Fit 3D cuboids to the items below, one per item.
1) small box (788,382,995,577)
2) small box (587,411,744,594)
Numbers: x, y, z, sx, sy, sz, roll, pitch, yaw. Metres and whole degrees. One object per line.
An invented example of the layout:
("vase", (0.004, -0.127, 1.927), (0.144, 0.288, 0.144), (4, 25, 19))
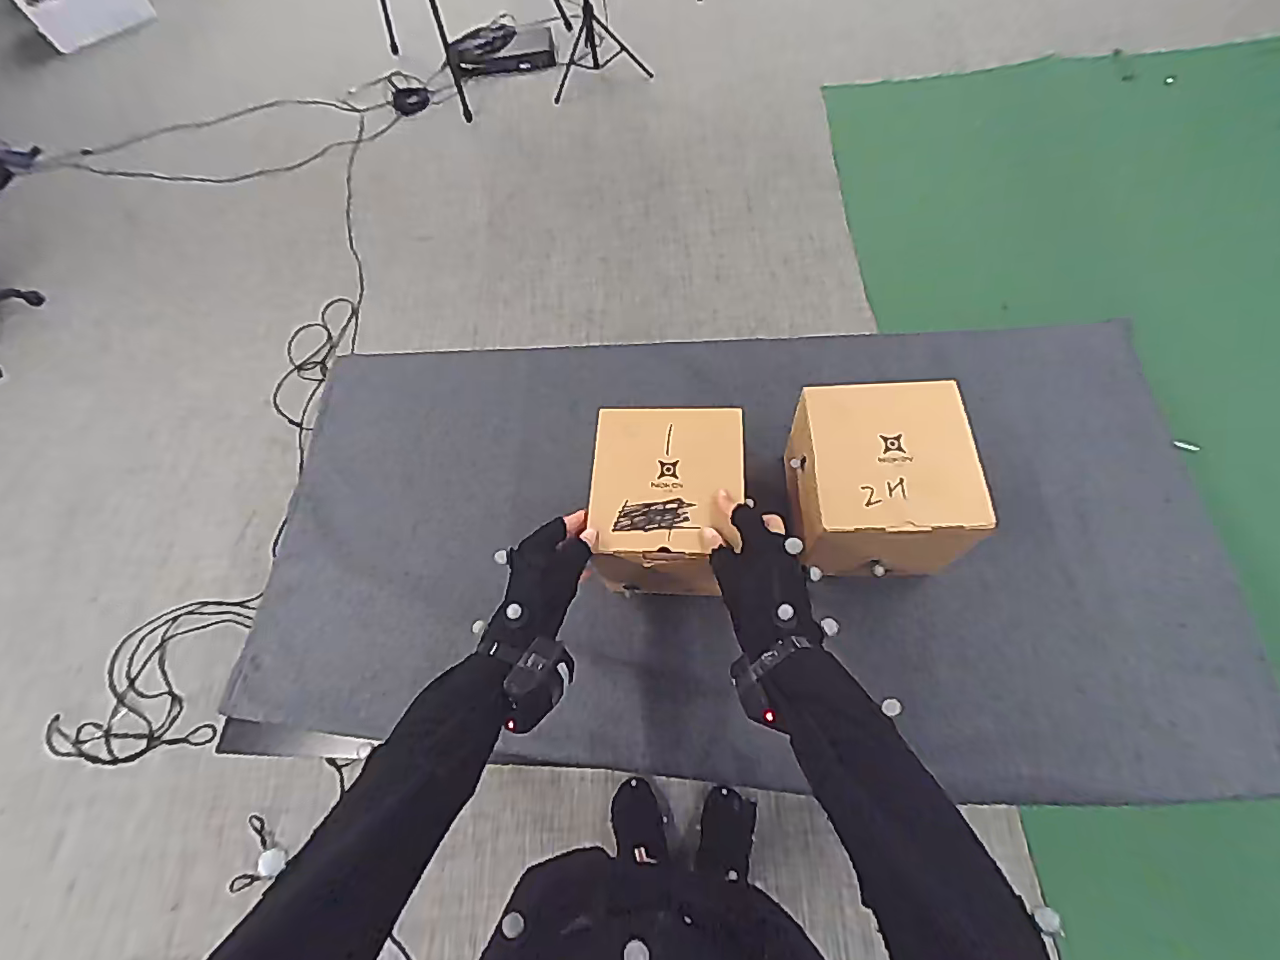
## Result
("small box", (0.274, 0.006, 0.639), (0.168, 0.176, 0.179), (-2, 64, 7))
("small box", (0.040, 0.034, 0.655), (0.168, 0.176, 0.179), (1, 64, 7))
